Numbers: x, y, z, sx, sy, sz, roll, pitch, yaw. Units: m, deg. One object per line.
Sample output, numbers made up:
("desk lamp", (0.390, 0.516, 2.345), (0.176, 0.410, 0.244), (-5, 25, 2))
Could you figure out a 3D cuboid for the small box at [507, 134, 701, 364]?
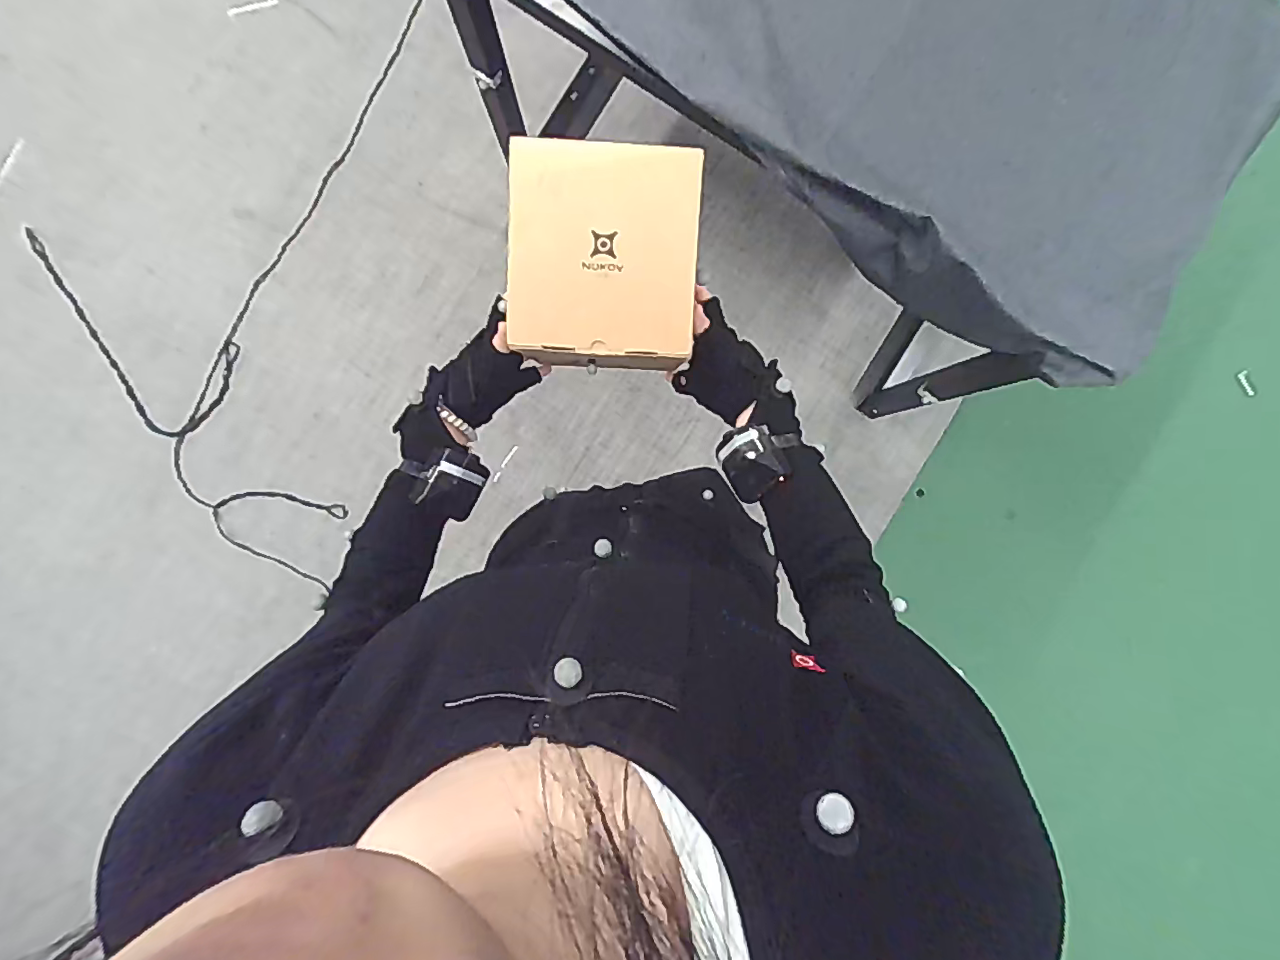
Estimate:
("small box", (-0.037, -0.218, 0.556), (0.168, 0.176, 0.179), (3, 99, -3))
